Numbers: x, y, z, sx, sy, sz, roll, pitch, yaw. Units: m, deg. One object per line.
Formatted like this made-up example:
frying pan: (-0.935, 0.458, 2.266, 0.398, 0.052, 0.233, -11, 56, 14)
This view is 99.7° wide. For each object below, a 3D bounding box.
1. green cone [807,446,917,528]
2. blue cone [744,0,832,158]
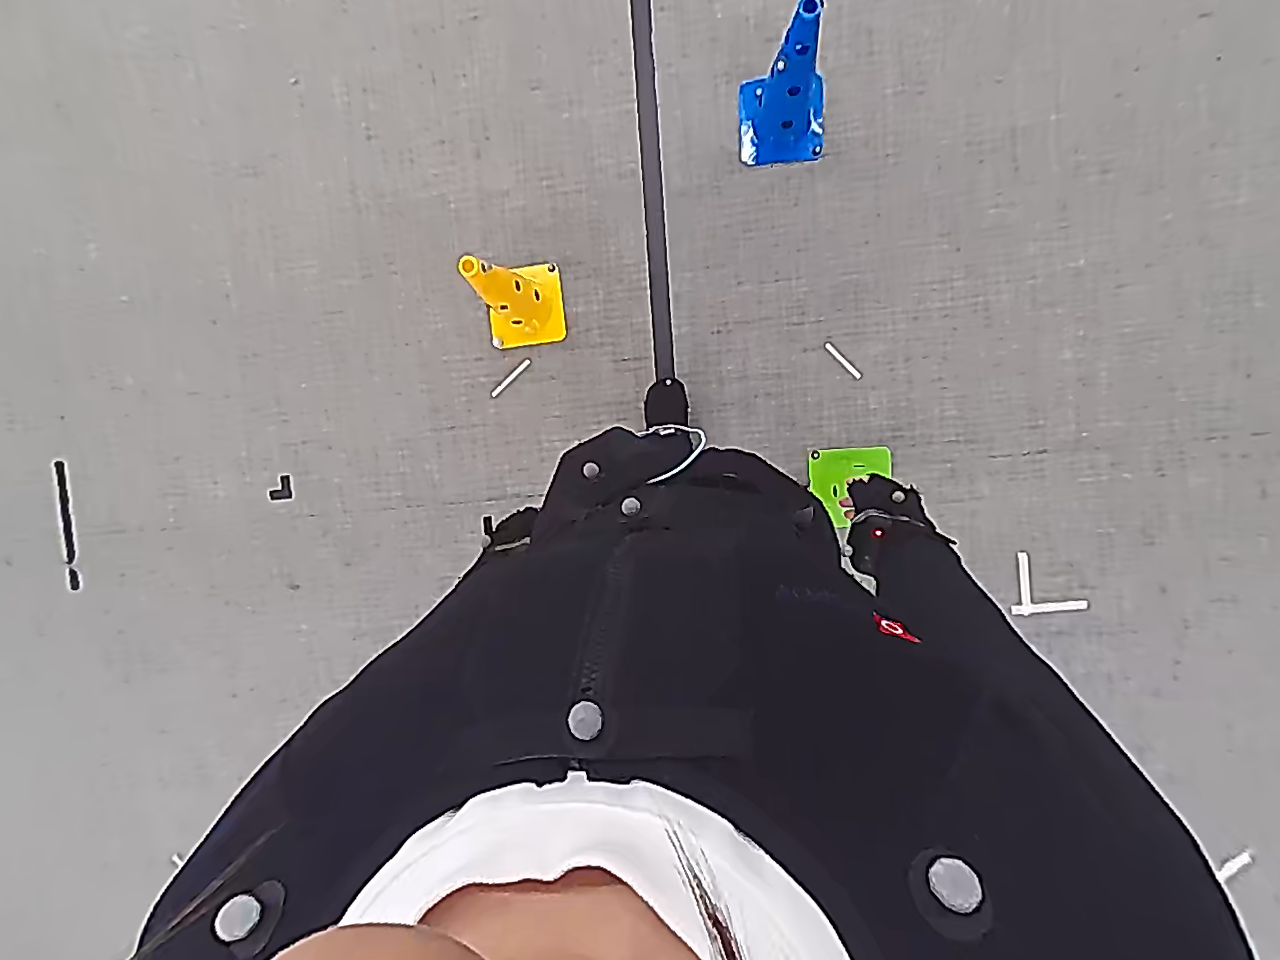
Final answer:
green cone: (0.510, 0.032, 1.187, 0.202, 0.368, 0.200, -4, 94, 6)
blue cone: (0.334, -0.870, 1.152, 0.192, 0.380, 0.193, 0, 95, 6)
